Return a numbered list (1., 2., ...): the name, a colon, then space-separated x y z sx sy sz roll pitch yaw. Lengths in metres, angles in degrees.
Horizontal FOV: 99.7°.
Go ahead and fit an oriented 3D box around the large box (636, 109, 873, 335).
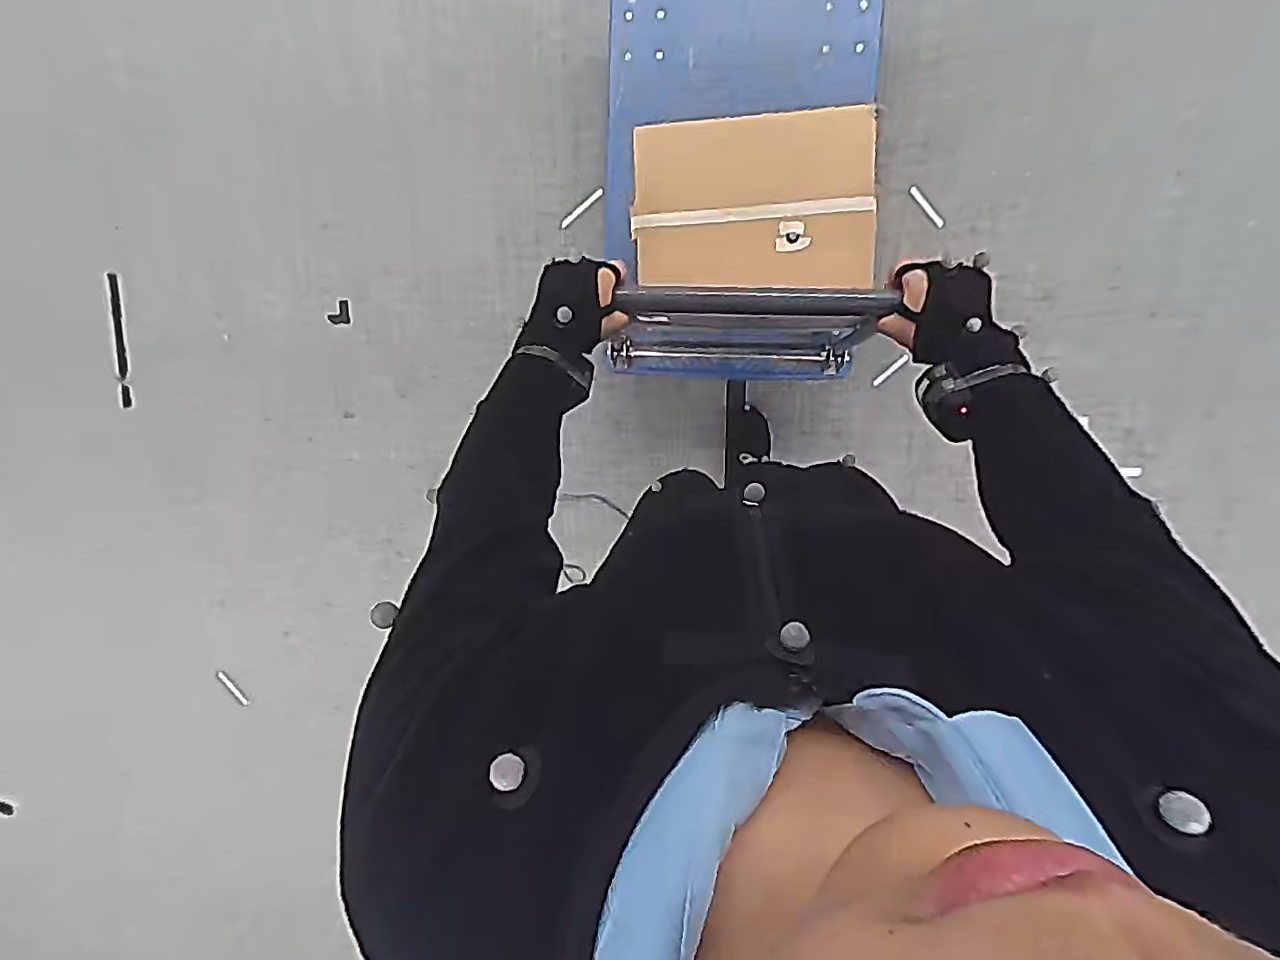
1. large box: 0.210 -0.479 1.085 0.408 0.320 0.320 -1 99 6
